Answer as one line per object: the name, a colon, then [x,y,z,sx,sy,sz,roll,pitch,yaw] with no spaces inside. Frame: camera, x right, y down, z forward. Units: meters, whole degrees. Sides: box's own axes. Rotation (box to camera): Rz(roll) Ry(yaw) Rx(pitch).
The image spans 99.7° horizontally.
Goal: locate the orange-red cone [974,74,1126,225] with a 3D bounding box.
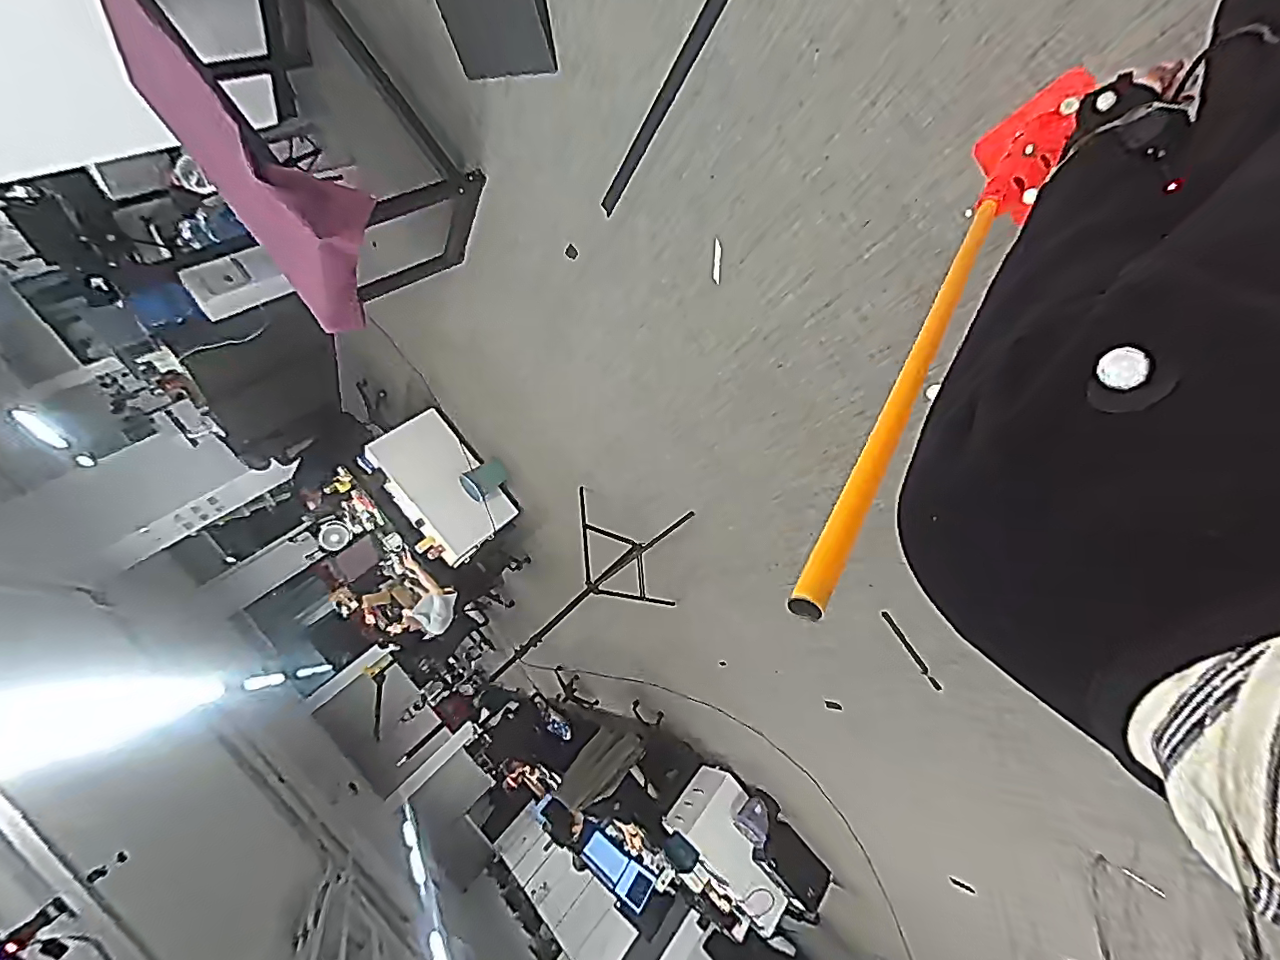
orange-red cone: [0.663,-0.529,0.946,0.199,0.360,0.198,54,149,-6]
